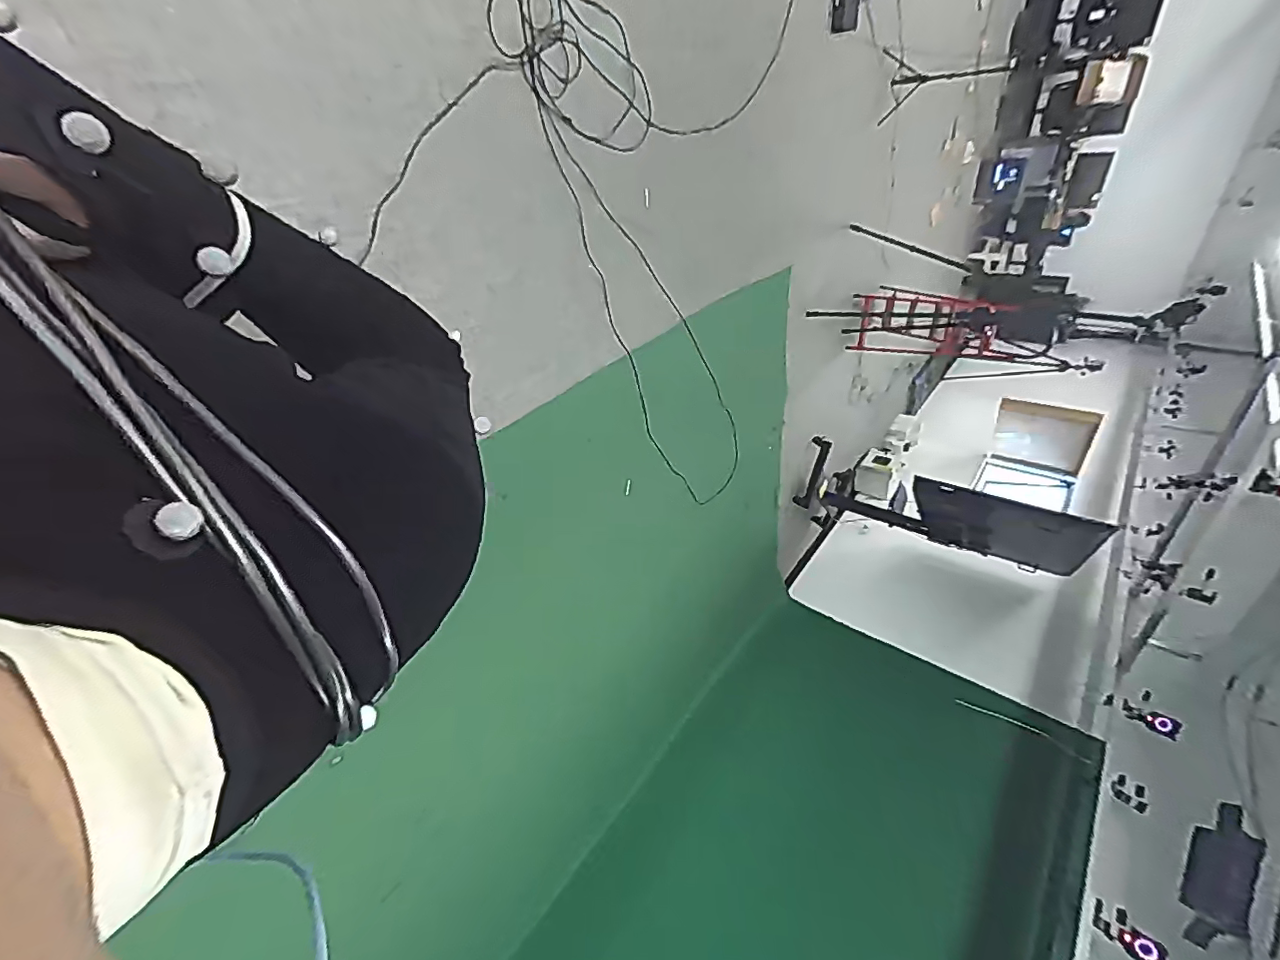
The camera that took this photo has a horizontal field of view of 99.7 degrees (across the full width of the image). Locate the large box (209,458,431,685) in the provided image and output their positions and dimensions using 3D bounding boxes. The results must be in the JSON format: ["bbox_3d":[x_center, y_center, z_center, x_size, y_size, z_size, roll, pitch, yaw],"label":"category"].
[{"bbox_3d":[-0.785,0.210,1.358,0.320,0.320,0.408,-30,130,-42],"label":"large box"}]
